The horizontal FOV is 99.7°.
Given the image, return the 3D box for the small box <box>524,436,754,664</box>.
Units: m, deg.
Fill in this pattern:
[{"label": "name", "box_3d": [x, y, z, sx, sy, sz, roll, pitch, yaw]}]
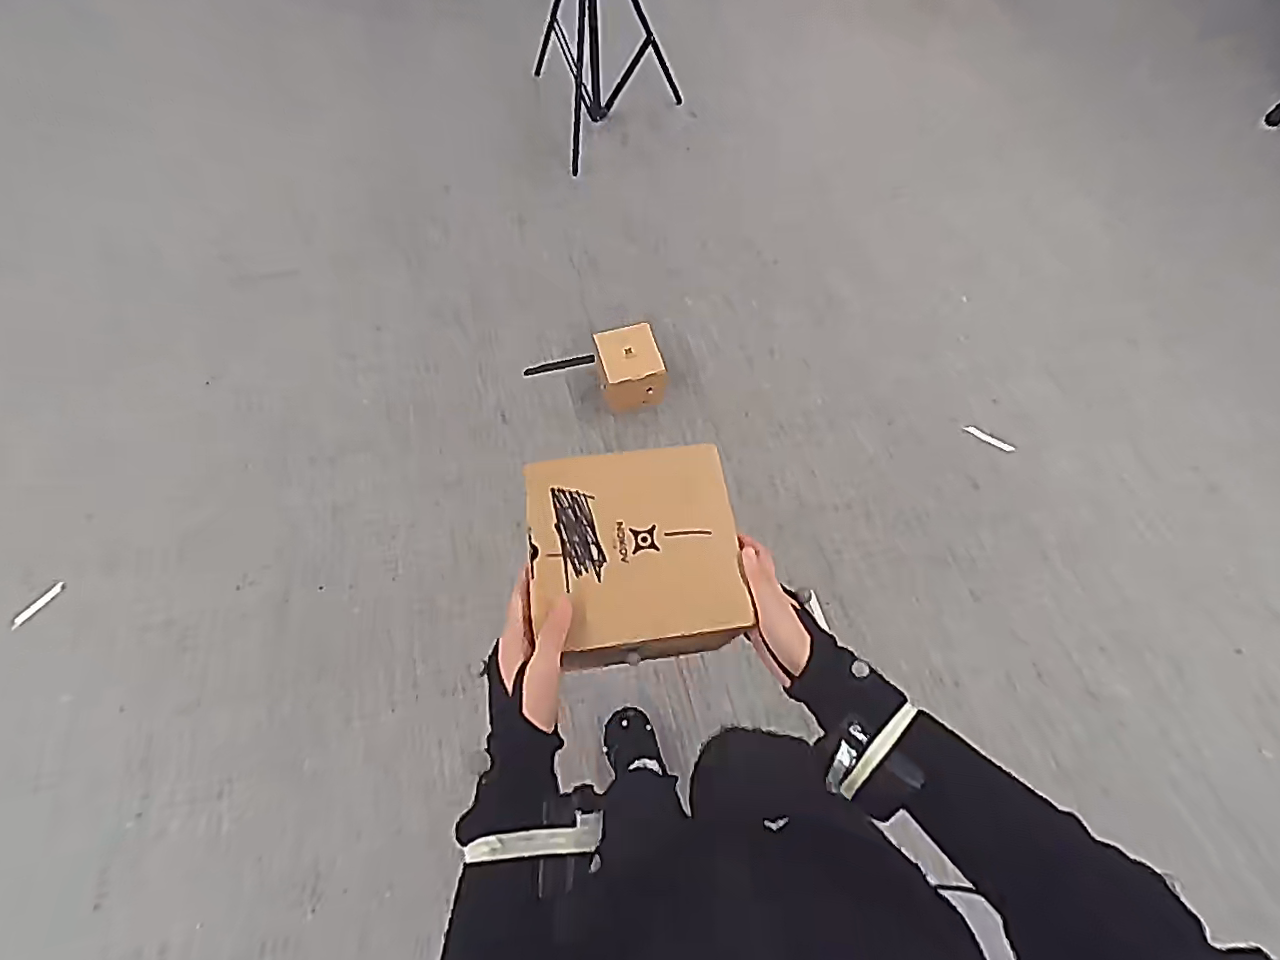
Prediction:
[{"label": "small box", "box_3d": [-0.009, 0.076, 0.521, 0.179, 0.176, 0.168, -6, 66, -6]}]
